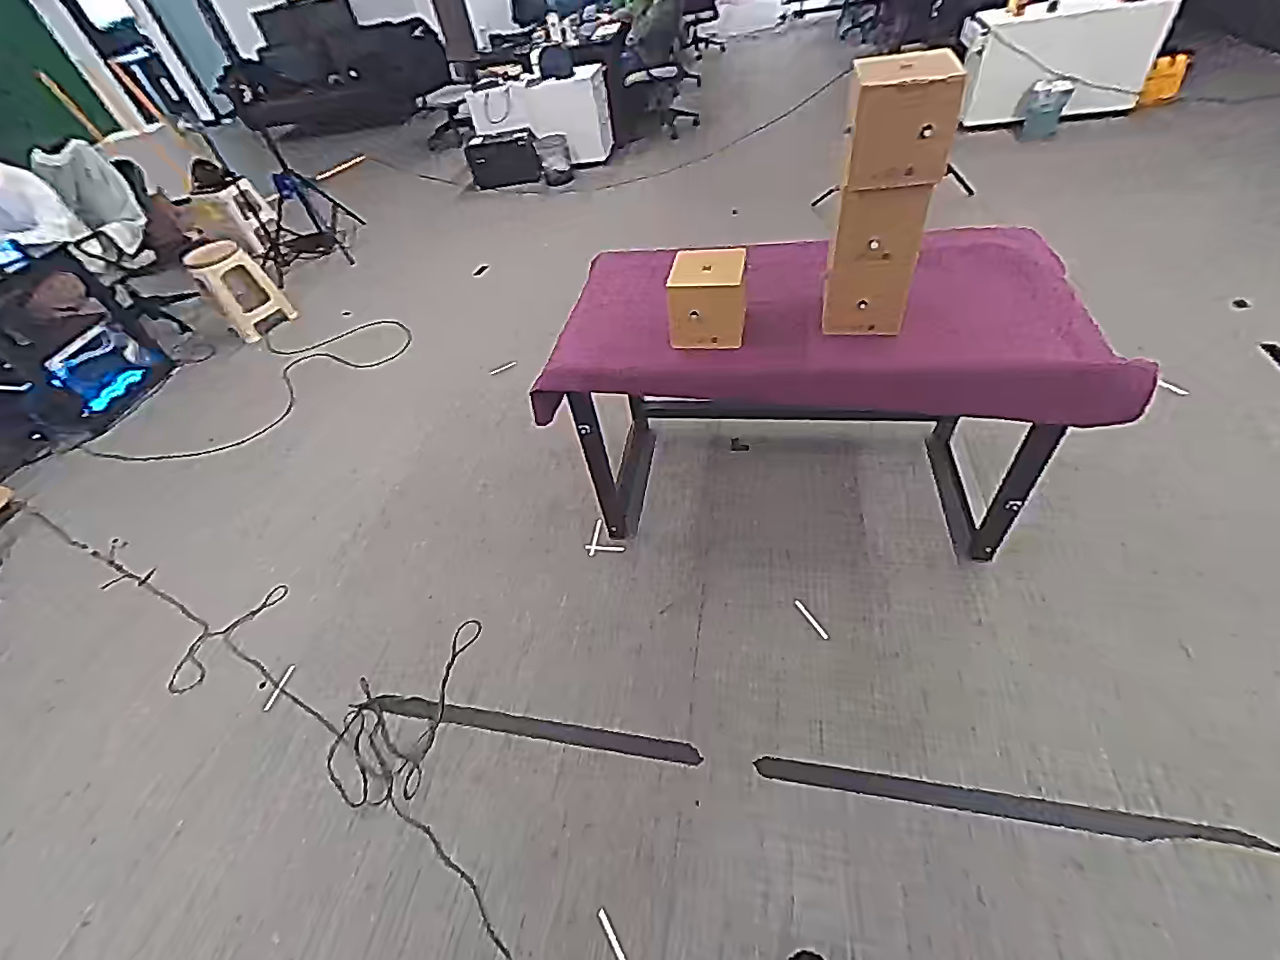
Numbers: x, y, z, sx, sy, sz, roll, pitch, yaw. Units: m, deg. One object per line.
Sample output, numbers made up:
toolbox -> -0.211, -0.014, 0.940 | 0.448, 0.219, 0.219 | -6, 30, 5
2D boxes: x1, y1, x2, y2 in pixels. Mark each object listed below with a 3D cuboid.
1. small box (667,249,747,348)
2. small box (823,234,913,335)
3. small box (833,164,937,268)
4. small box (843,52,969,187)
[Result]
small box -> 0.166, -0.430, 1.294 | 0.168, 0.176, 0.179 | 3, 48, 13
small box -> 0.518, -0.451, 1.246 | 0.168, 0.176, 0.179 | 5, 49, 15
small box -> 0.499, -0.563, 1.127 | 0.168, 0.176, 0.179 | 4, 50, 15
small box -> 0.475, -0.654, 0.993 | 0.168, 0.176, 0.179 | 3, 48, 12
